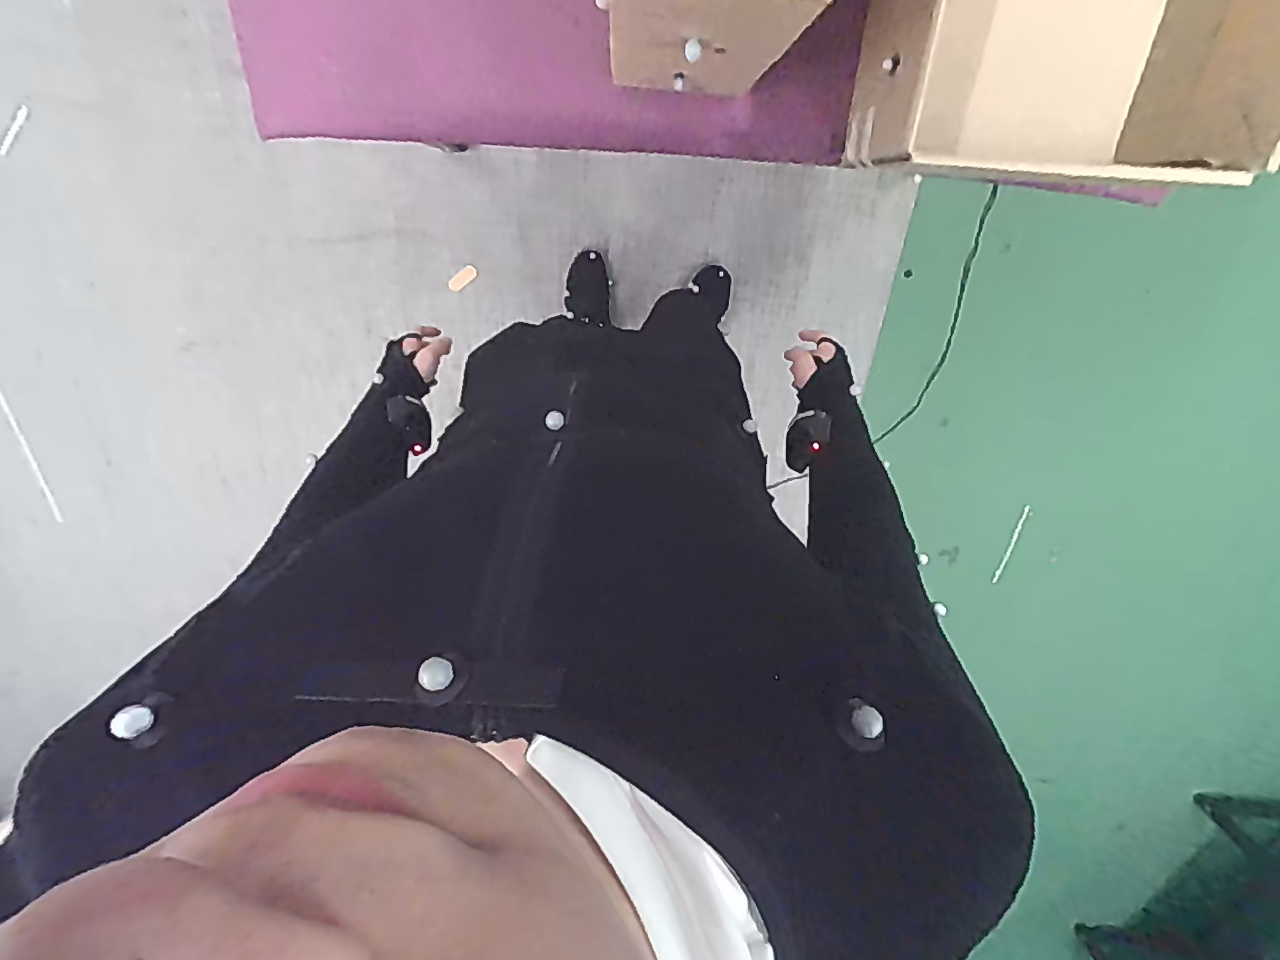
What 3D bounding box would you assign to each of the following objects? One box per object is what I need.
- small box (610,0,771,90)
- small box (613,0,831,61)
[{"bbox_3d":[0.057,-0.535,0.569,0.168,0.176,0.179,3,116,-4],"label":"small box"},{"bbox_3d":[0.063,-0.463,0.422,0.168,0.176,0.179,3,116,-3],"label":"small box"}]
